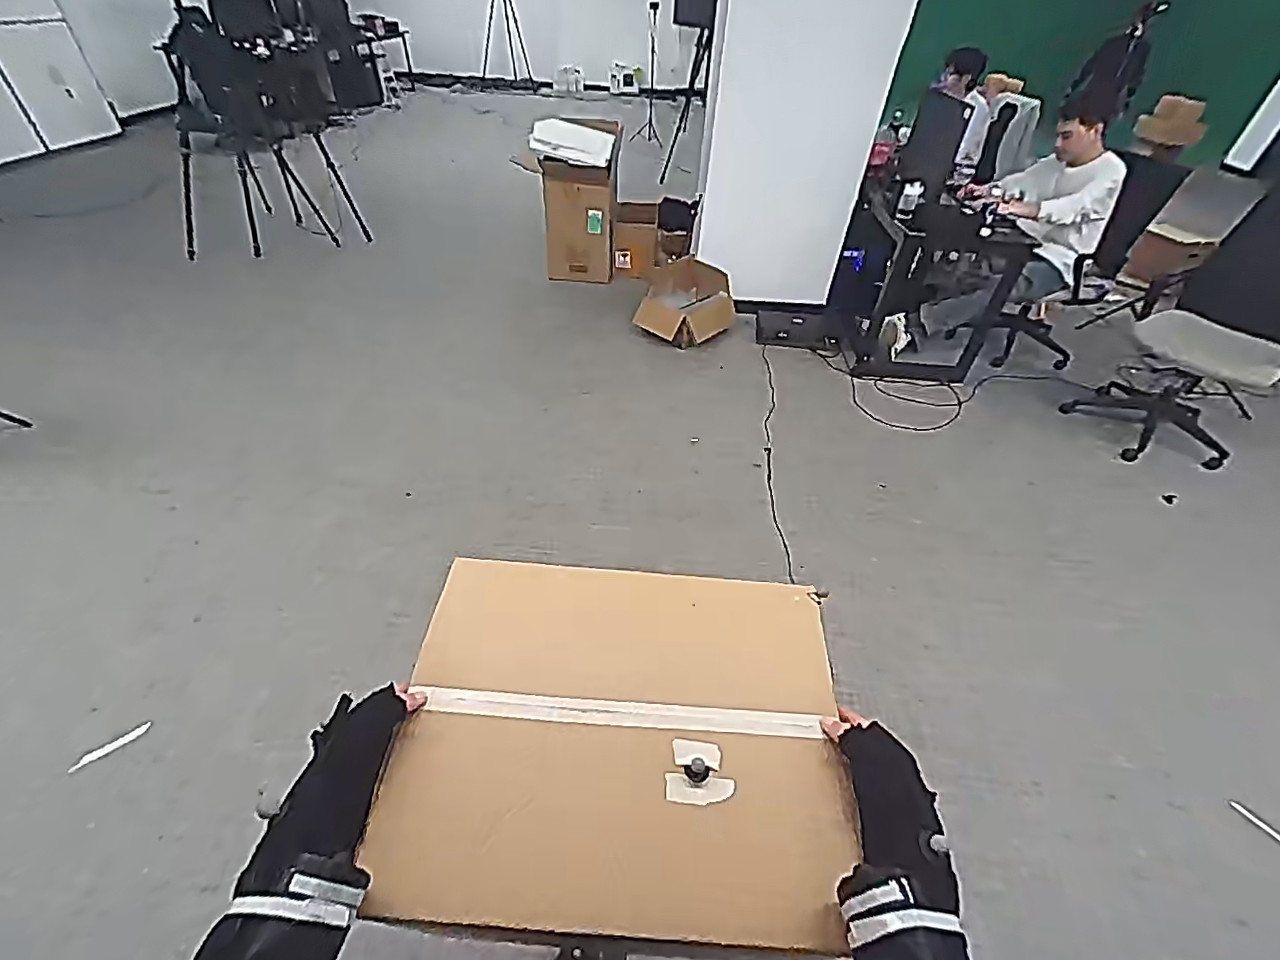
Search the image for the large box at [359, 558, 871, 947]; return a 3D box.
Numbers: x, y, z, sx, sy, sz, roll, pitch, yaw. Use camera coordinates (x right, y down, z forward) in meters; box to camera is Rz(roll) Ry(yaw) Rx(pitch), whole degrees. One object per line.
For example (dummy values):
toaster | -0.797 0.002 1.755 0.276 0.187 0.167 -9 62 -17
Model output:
large box | -0.022 0.315 0.620 0.408 0.320 0.320 5 48 0
